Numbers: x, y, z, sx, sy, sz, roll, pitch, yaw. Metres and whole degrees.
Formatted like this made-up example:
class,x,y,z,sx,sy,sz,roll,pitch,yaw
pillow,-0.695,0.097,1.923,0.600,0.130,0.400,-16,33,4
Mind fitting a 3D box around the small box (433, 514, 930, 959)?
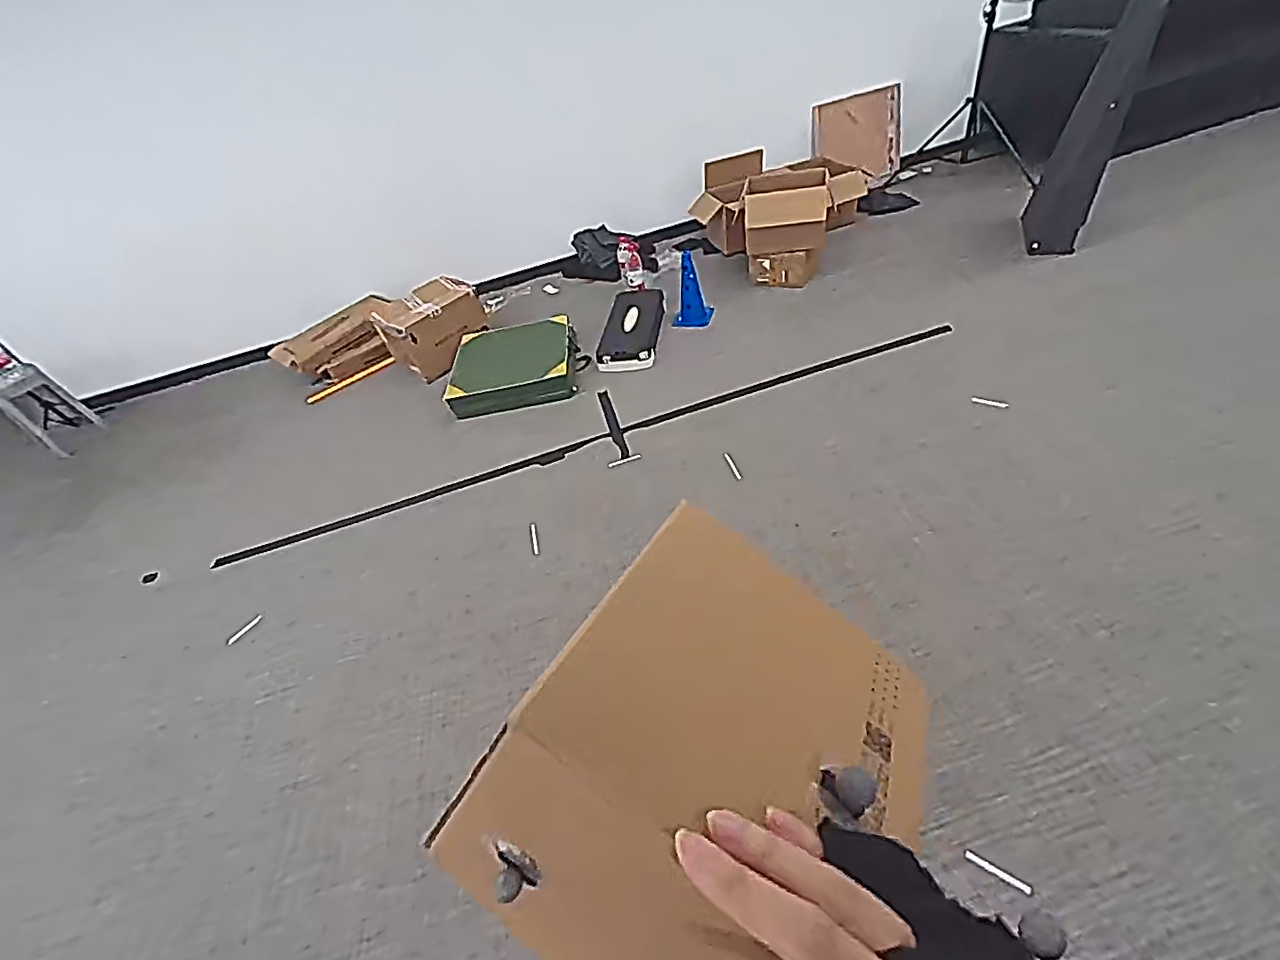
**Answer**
class,x,y,z,sx,sy,sz,roll,pitch,yaw
small box,0.022,0.160,0.295,0.176,0.179,0.168,37,38,6
